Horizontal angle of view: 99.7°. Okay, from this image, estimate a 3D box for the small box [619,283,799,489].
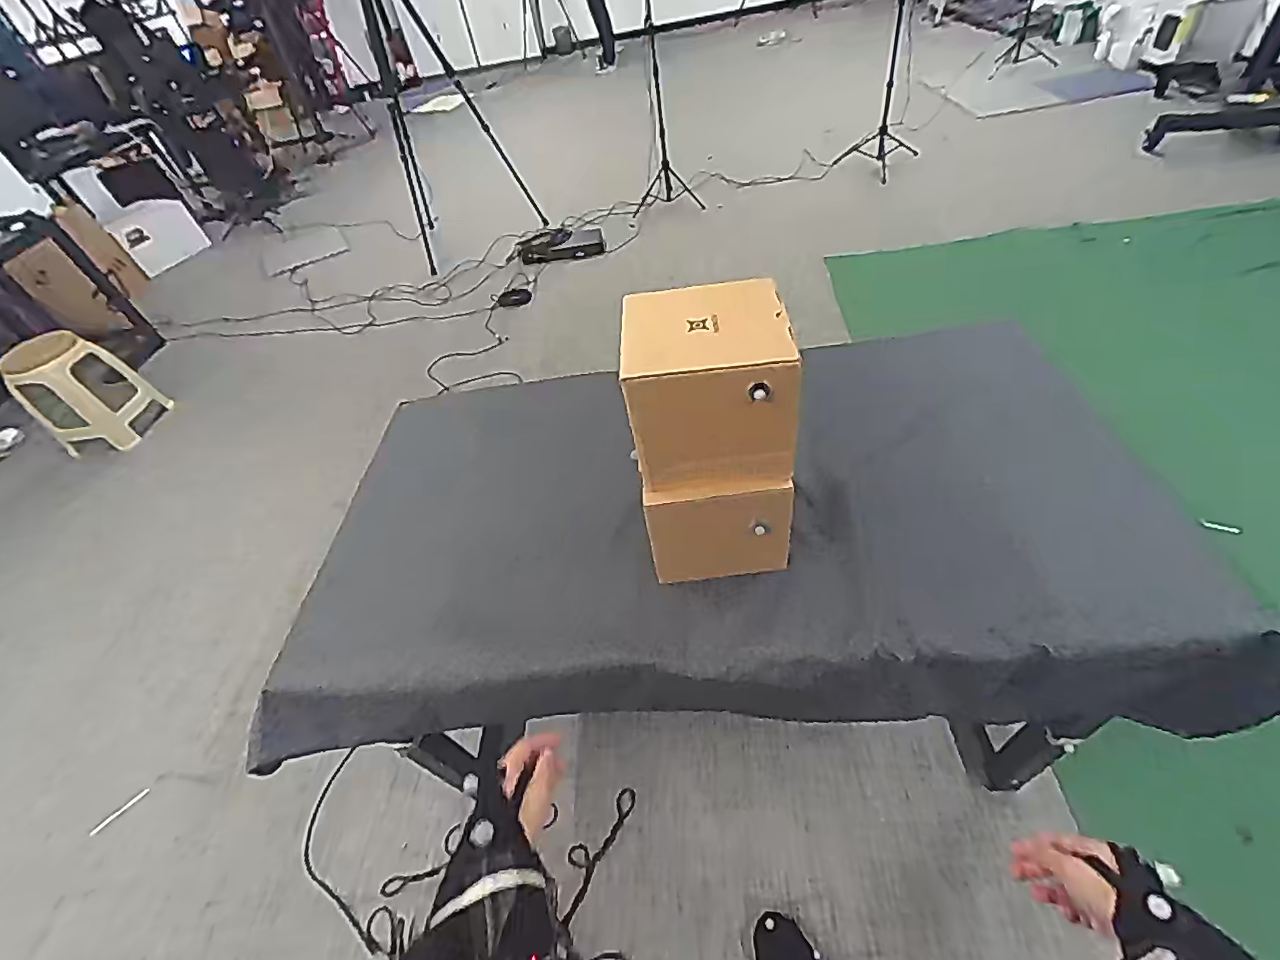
[{"bbox_3d":[0.077,-0.103,0.626,0.179,0.176,0.168,-5,46,5],"label":"small box"}]
